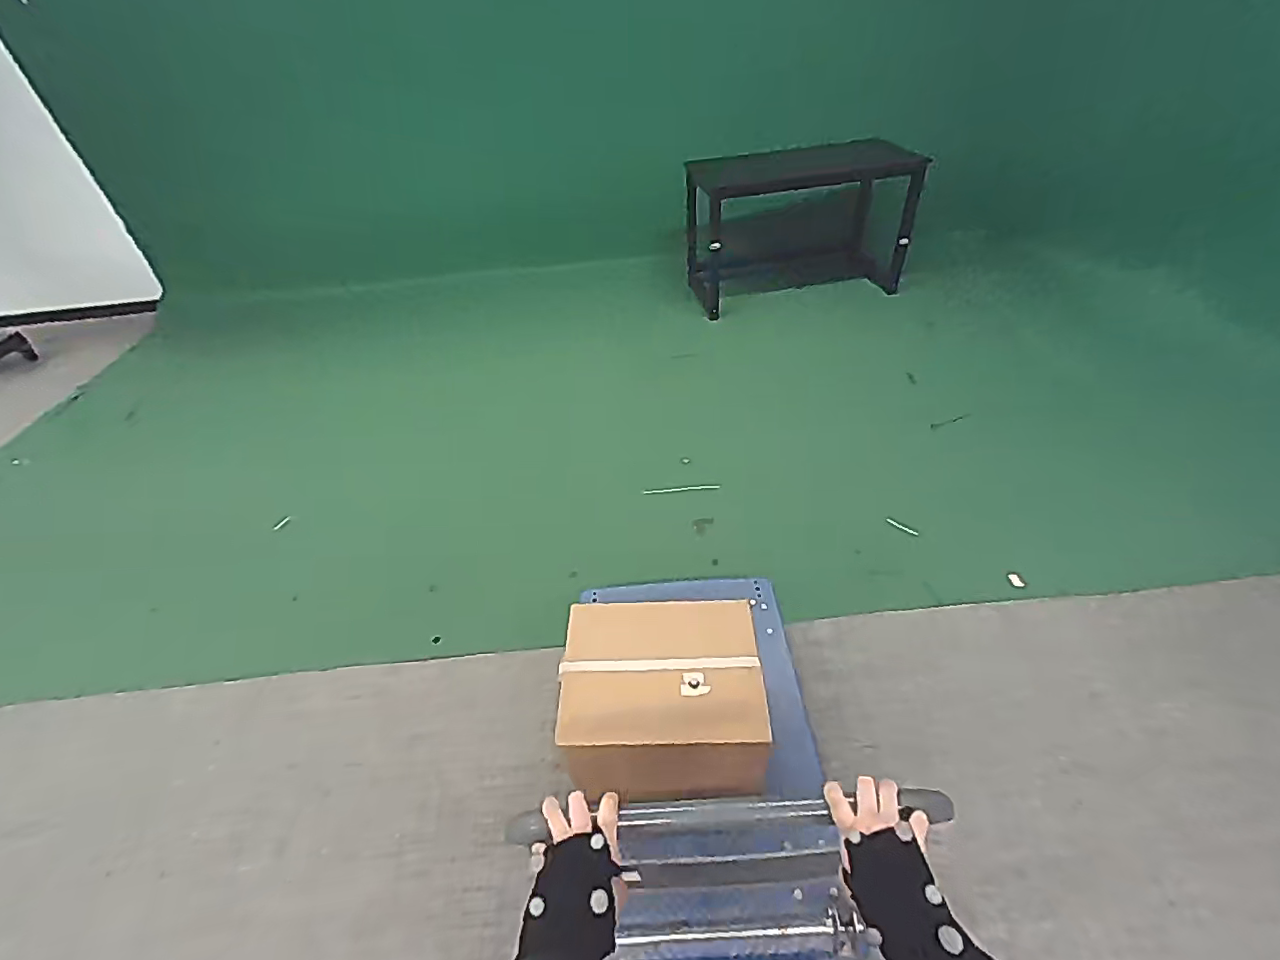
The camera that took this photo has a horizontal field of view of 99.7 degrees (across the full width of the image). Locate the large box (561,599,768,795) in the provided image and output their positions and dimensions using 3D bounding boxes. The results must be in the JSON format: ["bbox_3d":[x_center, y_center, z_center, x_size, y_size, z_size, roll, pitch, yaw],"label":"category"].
[{"bbox_3d":[0.050,0.492,1.230,0.408,0.320,0.320,-2,42,2],"label":"large box"}]
